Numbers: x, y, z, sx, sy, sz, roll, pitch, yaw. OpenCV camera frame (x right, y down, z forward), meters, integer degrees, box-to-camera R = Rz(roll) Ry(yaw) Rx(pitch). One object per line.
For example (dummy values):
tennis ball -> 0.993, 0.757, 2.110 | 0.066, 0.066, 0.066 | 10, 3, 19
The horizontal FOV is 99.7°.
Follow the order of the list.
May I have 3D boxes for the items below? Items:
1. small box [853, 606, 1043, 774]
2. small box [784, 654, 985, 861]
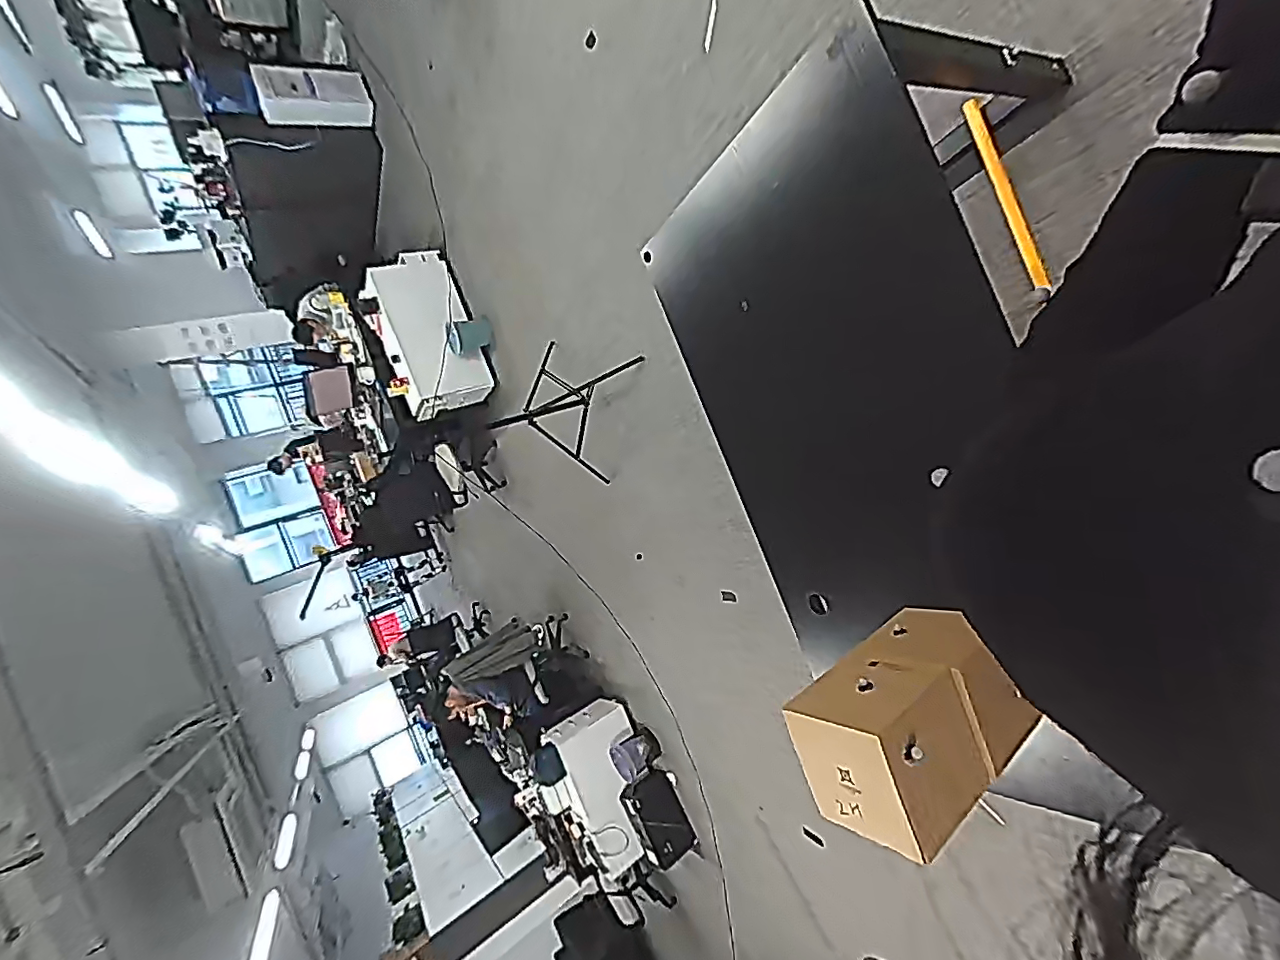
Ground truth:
small box -> 0.473, 0.307, 0.836 | 0.179, 0.176, 0.168 | -18, 95, 58
small box -> 0.340, 0.366, 0.758 | 0.168, 0.176, 0.179 | -17, 95, 60
